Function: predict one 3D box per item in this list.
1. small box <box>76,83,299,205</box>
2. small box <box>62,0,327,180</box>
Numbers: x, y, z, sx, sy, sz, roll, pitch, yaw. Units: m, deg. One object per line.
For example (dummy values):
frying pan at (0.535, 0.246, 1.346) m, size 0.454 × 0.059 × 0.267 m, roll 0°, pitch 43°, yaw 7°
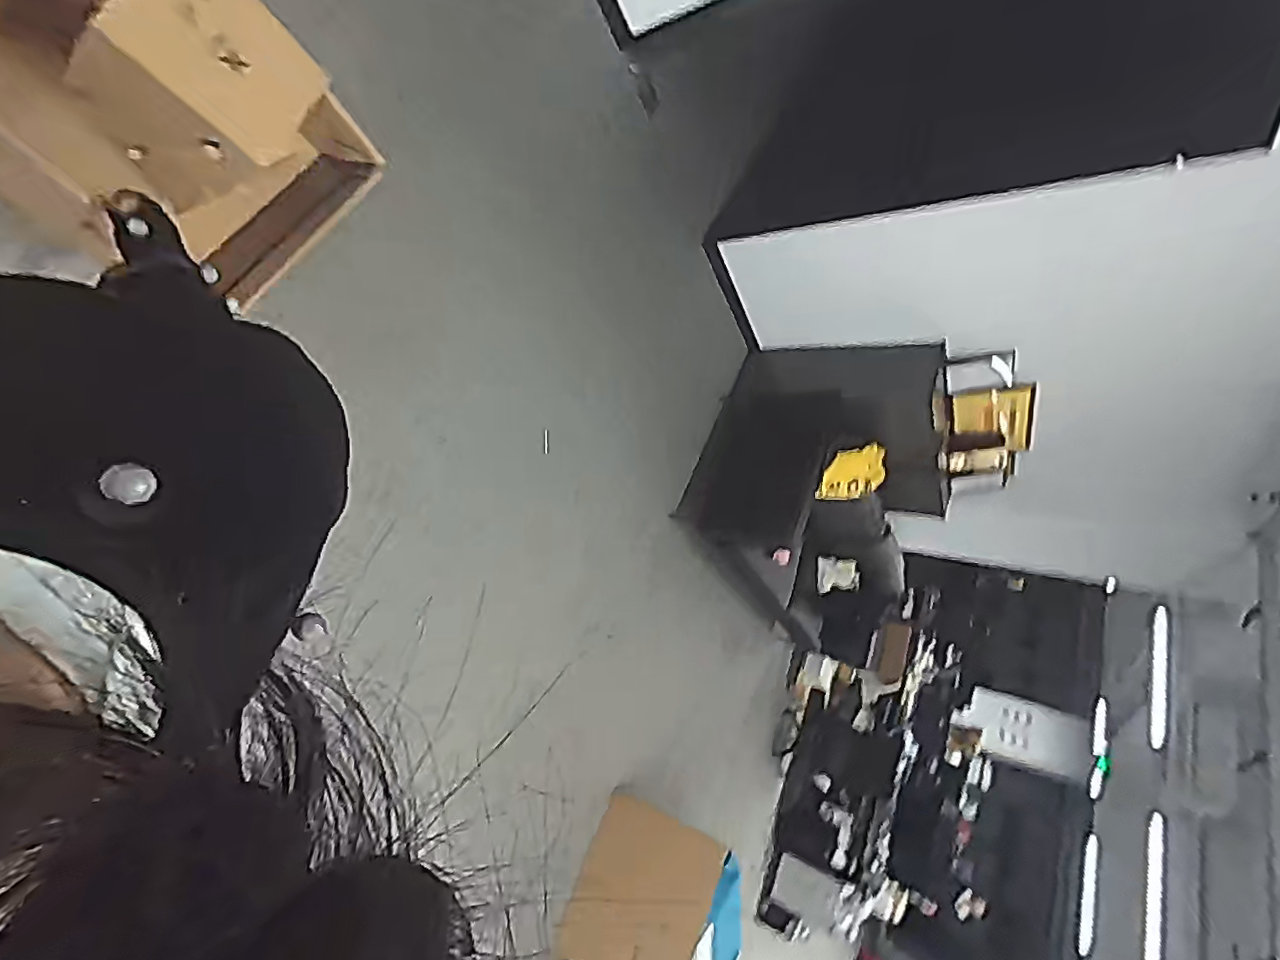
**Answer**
small box at (-0.657, -0.527, 0.787) m, size 0.179 × 0.176 × 0.168 m, roll -56°, pitch 136°, yaw -31°
small box at (-0.542, -0.503, 0.666) m, size 0.179 × 0.176 × 0.168 m, roll 42°, pitch 62°, yaw -48°
